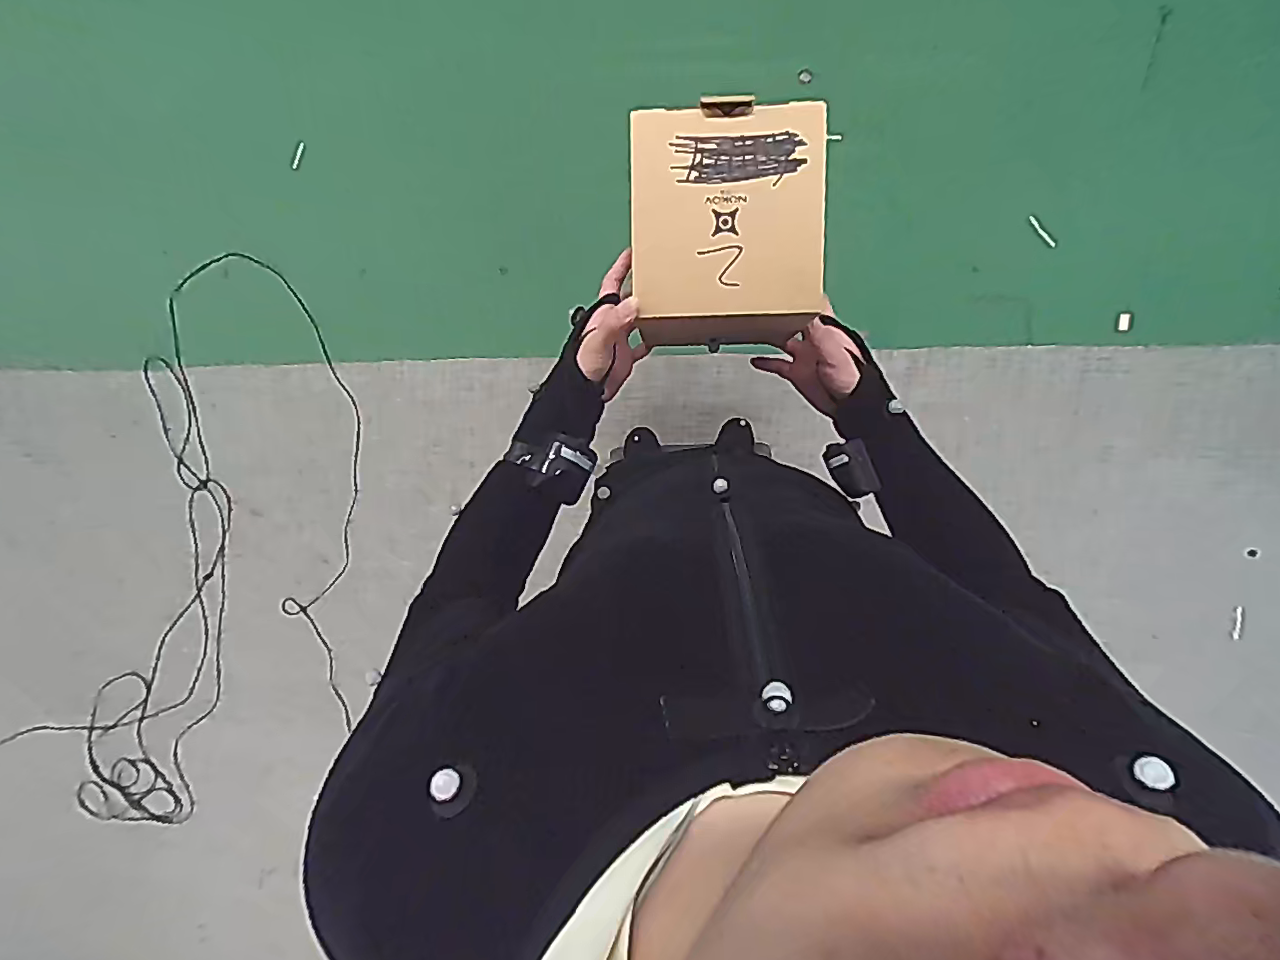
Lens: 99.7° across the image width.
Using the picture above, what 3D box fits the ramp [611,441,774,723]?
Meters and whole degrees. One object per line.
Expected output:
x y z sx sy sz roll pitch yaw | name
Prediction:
0.180 0.370 1.752 0.509 0.206 0.991 -3 96 4 | ramp
